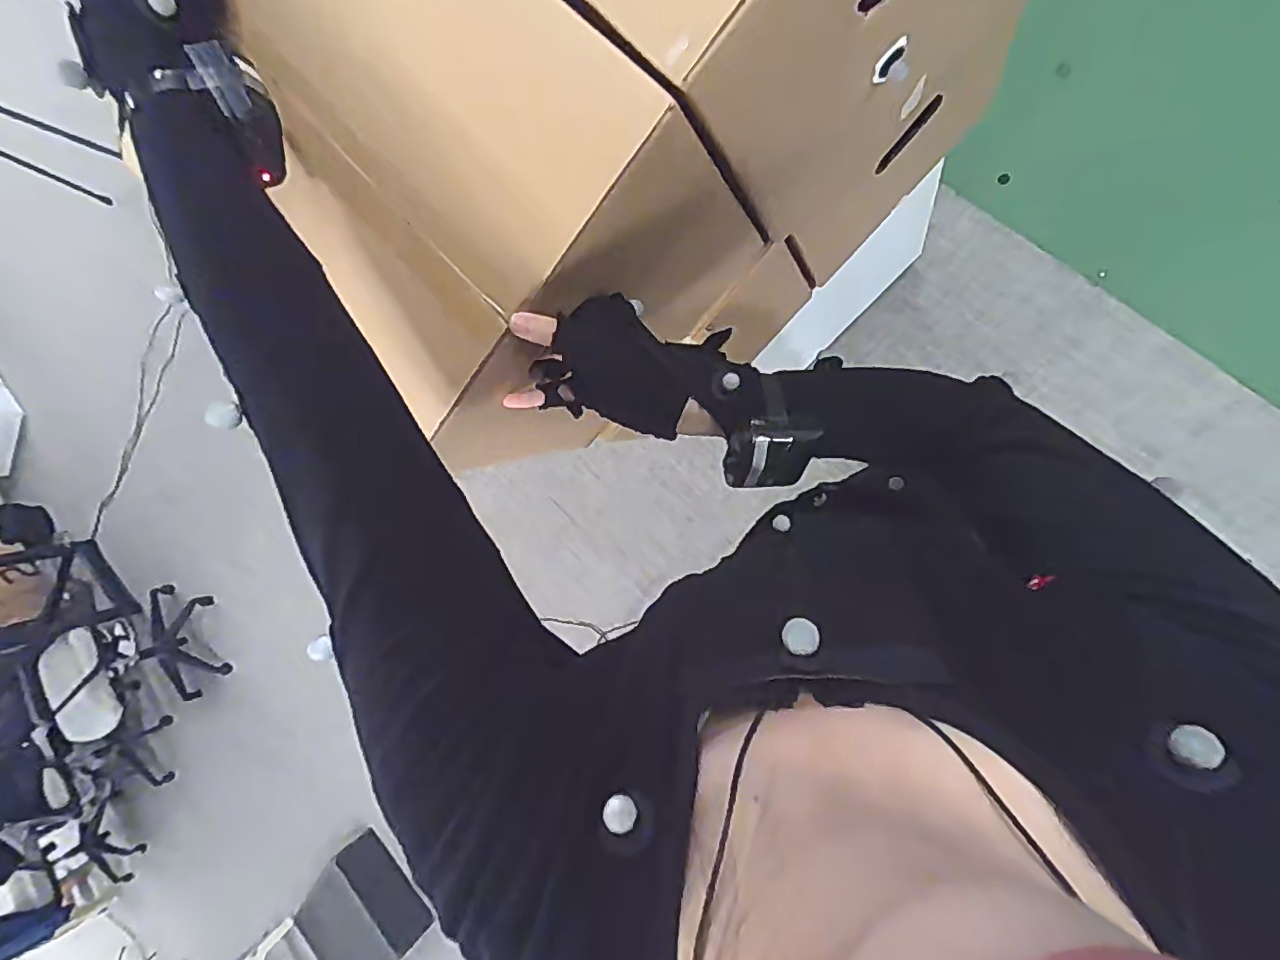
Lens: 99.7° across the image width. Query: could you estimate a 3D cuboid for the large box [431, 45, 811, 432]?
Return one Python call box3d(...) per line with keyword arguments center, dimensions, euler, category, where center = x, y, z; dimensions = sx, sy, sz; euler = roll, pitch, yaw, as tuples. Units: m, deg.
box3d(center=(-0.015, -0.313, 0.812), dimensions=(0.408, 0.320, 0.320), euler=(47, 110, 14), category="large box")
